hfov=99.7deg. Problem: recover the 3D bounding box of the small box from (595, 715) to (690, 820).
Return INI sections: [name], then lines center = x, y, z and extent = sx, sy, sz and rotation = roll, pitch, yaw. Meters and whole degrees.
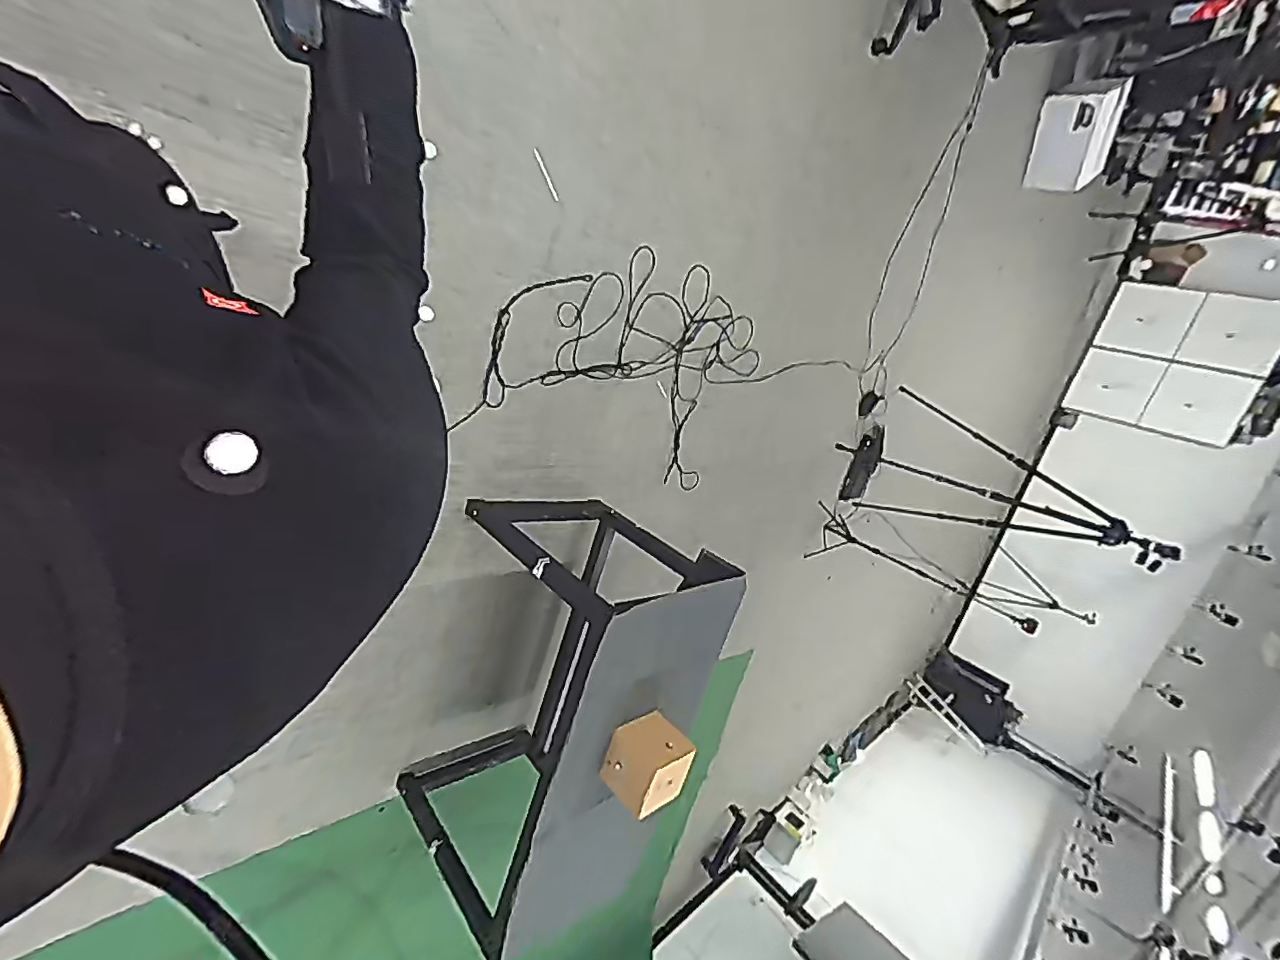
[small box]
center = 0.005, 0.790, 1.511
extent = 0.179, 0.176, 0.168
rotation = 3, 110, -47
